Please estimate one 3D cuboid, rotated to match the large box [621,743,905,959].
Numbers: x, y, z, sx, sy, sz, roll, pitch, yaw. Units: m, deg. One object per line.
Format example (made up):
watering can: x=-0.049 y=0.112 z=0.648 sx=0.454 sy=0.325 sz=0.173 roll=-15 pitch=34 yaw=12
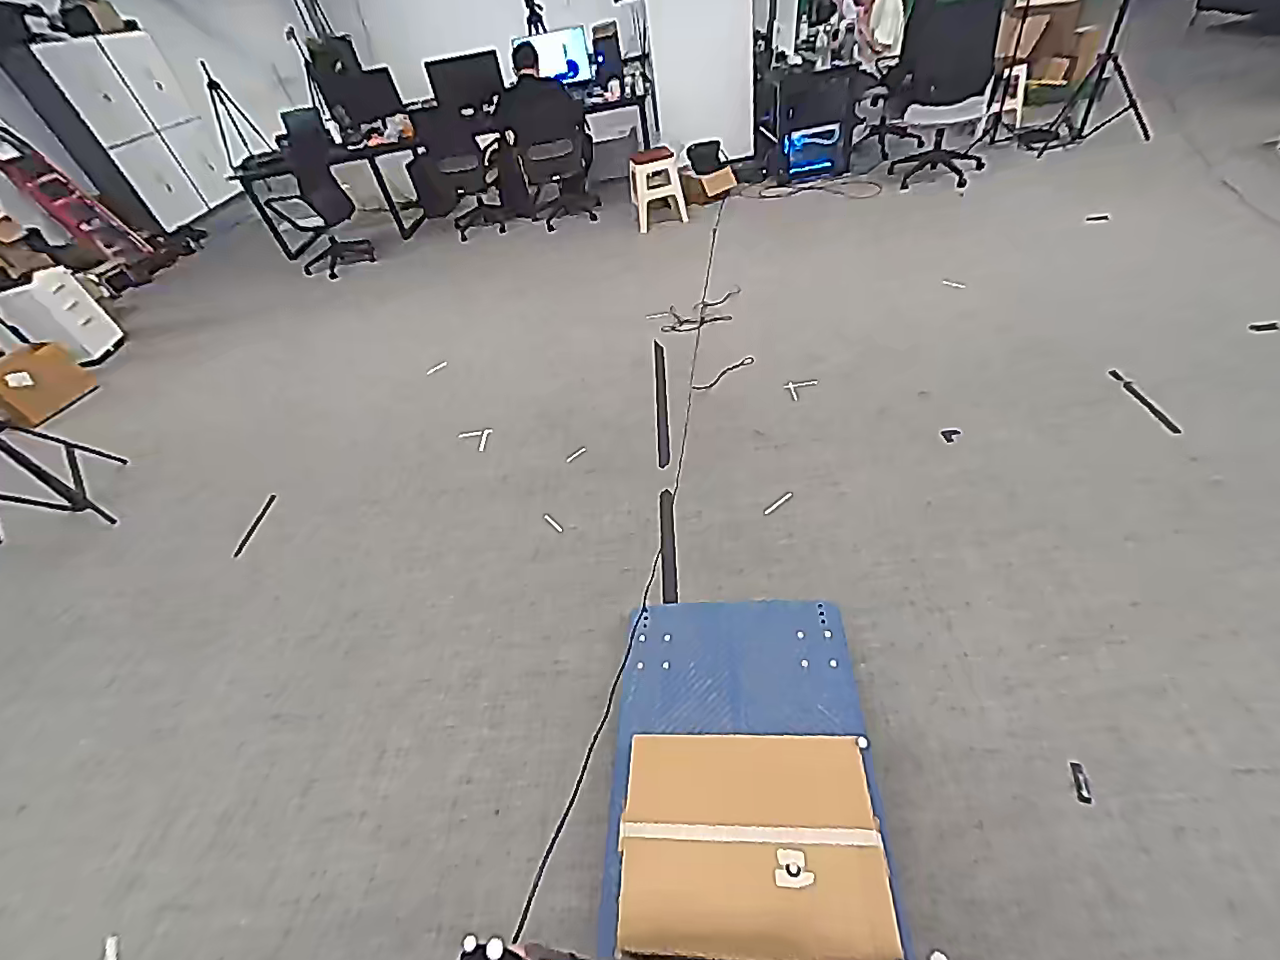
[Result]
large box: x=0.196 y=0.688 z=0.961 sx=0.408 sy=0.320 sz=0.320 roll=-4 pitch=44 yaw=9
